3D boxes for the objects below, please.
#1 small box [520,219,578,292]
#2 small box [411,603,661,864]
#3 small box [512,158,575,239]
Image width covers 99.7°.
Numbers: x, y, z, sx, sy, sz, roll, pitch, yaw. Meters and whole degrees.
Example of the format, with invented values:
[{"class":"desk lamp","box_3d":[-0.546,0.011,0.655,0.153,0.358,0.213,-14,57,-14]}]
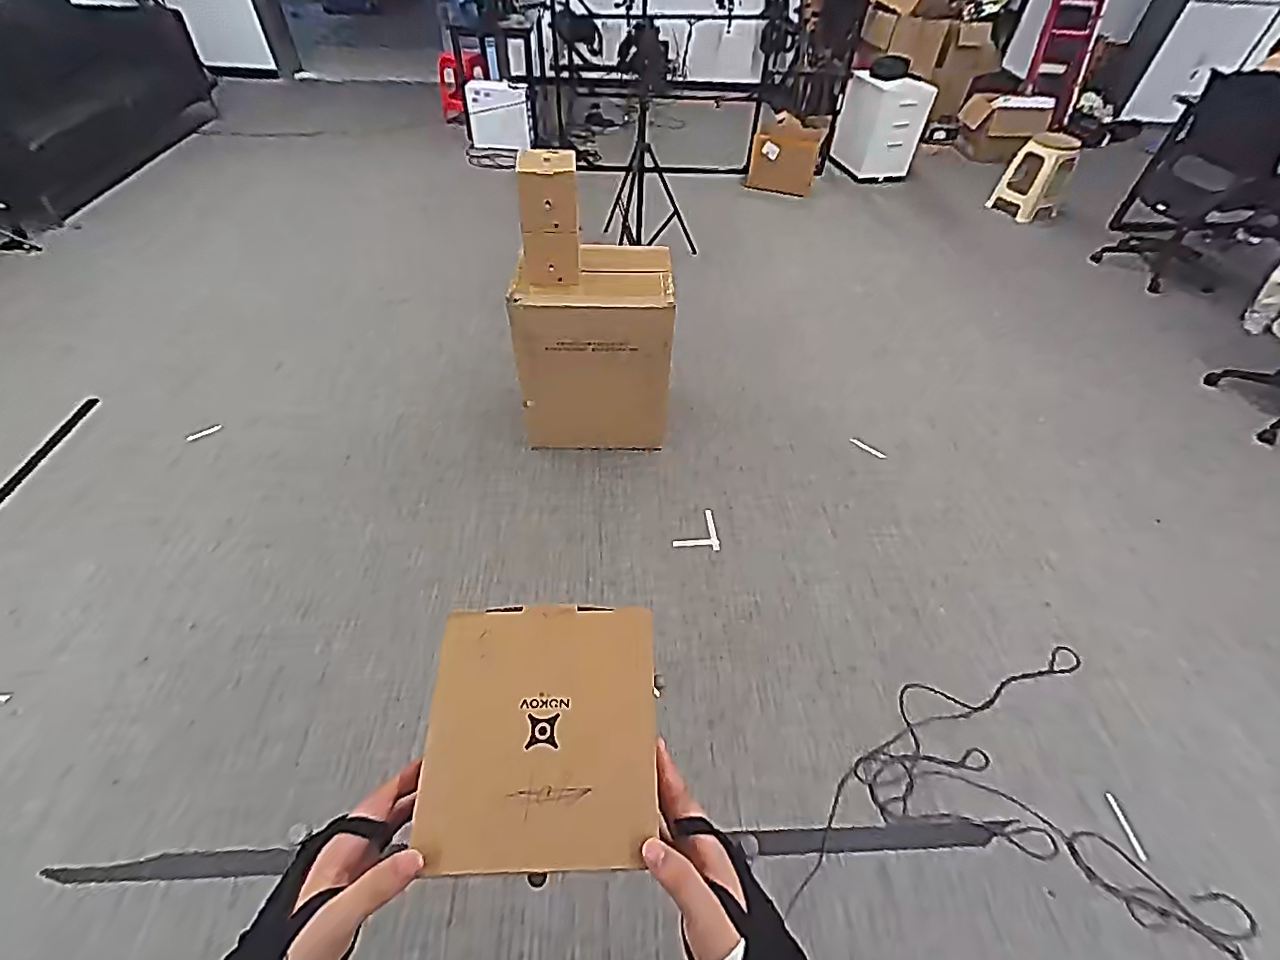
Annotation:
[{"class":"small box","box_3d":[-0.286,-0.721,1.722,0.168,0.176,0.179,-1,49,-5]},{"class":"small box","box_3d":[-0.072,0.217,0.463,0.168,0.176,0.179,0,58,-2]},{"class":"small box","box_3d":[-0.280,-0.831,1.601,0.168,0.176,0.179,-2,49,-6]}]
